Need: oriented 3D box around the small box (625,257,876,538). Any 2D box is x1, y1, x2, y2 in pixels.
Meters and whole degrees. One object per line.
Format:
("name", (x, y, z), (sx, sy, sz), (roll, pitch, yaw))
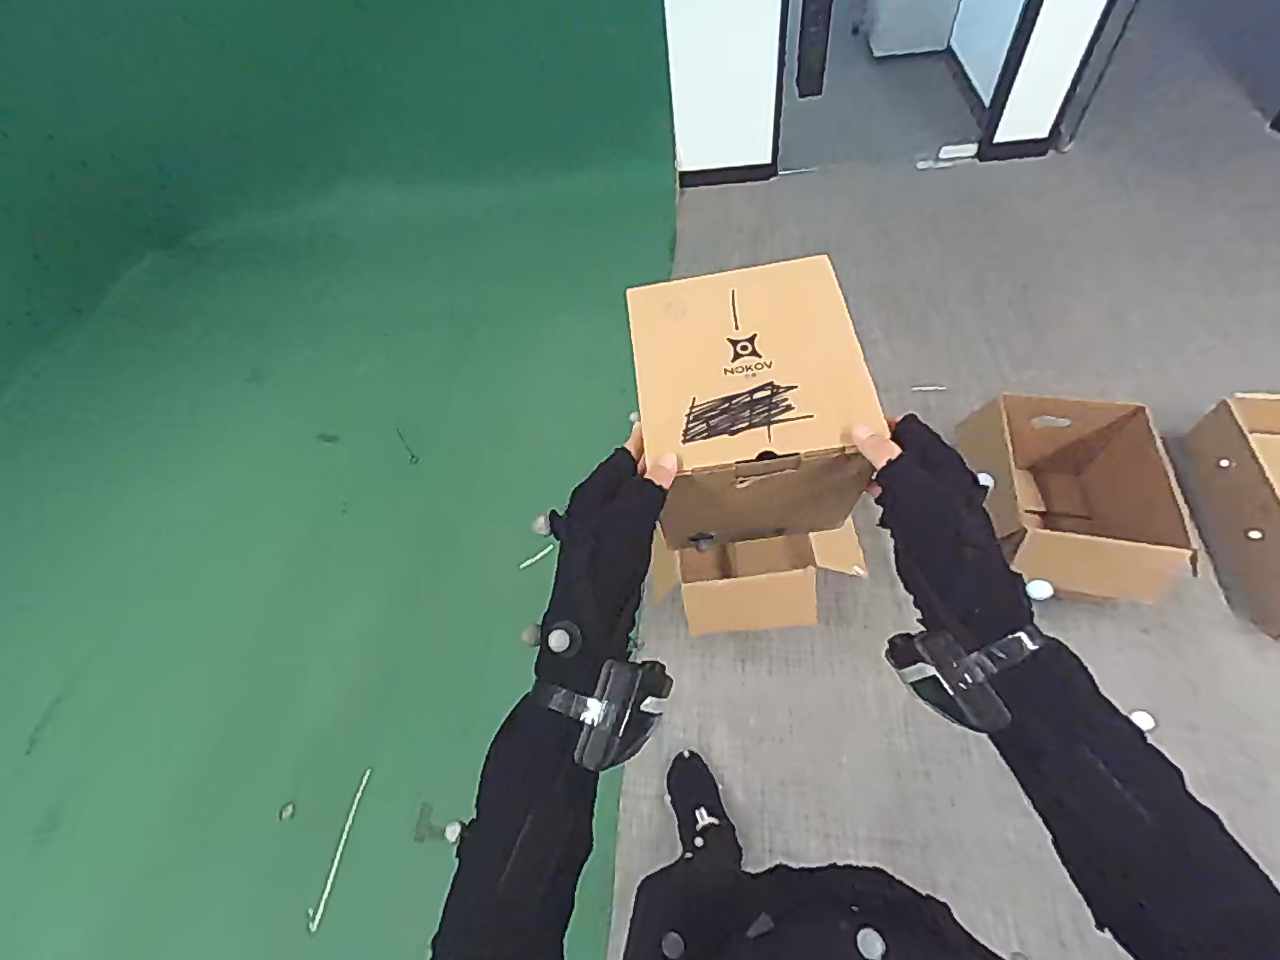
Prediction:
("small box", (0.085, -0.057, 0.475), (0.168, 0.176, 0.179), (-8, 63, 5))
